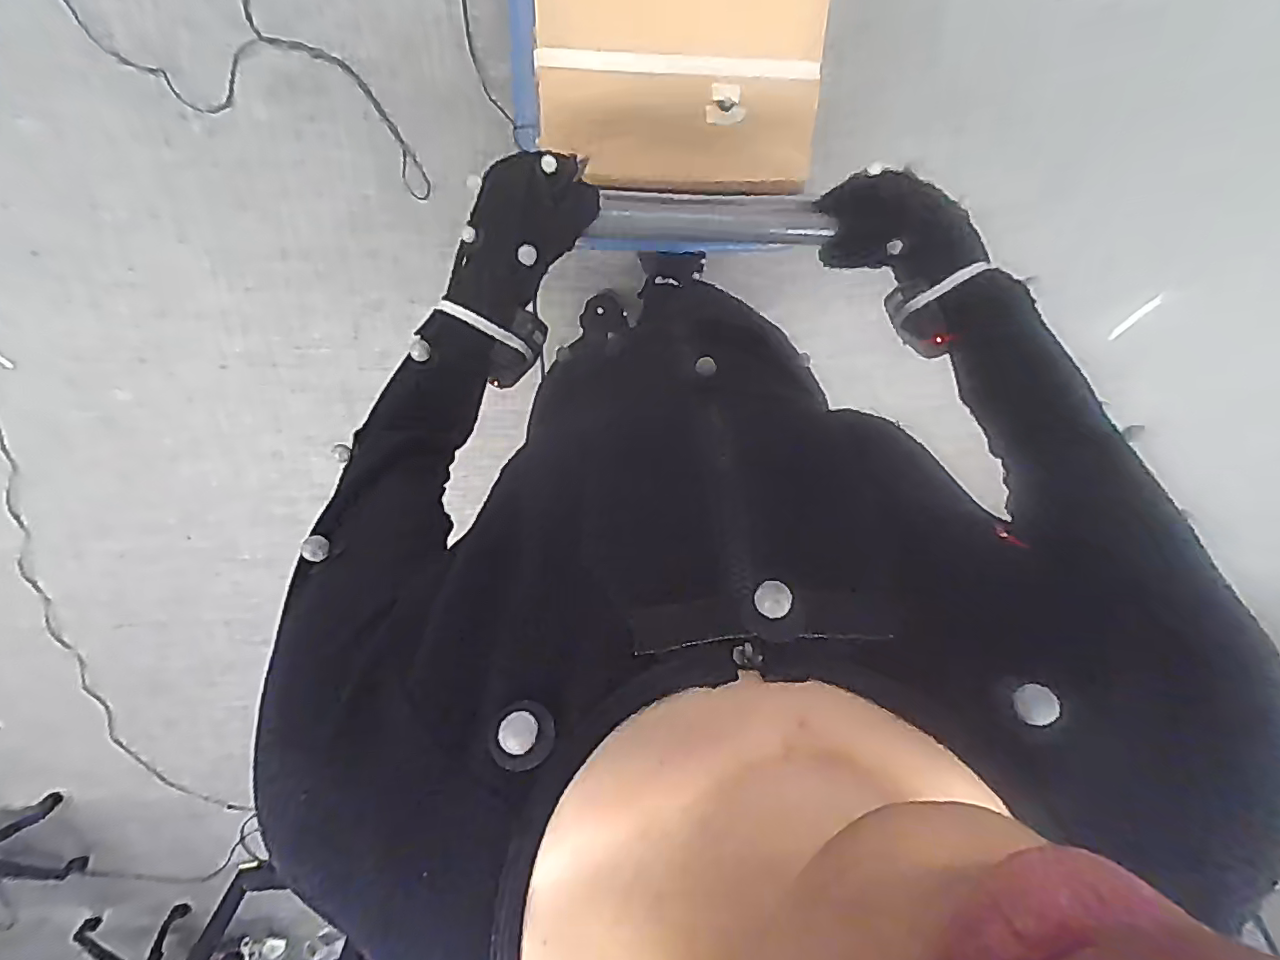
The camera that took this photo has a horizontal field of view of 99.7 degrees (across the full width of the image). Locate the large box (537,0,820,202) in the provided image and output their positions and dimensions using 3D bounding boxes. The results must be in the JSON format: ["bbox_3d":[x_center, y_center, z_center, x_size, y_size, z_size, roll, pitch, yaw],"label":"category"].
[{"bbox_3d":[0.043,-0.657,0.918,0.408,0.320,0.320,-1,115,-5],"label":"large box"}]
